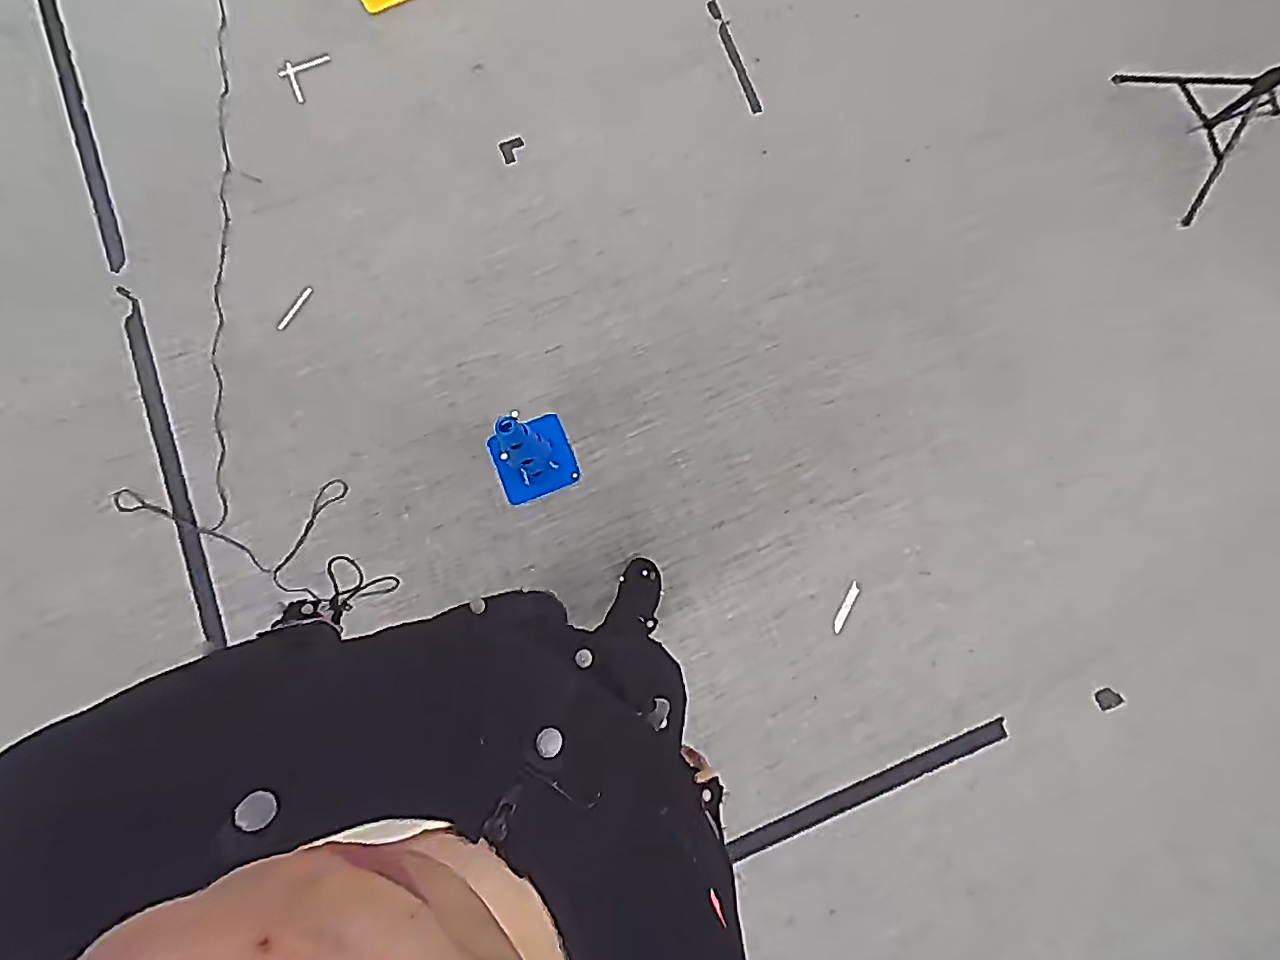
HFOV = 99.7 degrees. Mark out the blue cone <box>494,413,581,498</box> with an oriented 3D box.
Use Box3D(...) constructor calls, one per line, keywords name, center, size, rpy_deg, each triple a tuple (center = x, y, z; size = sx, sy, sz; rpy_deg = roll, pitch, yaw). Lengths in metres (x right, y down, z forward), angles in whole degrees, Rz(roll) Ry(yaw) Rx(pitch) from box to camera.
Box3D(name="blue cone", center=(-0.263, -0.084, 1.239), size=(0.192, 0.380, 0.193), rpy_deg=(-20, 83, -5))
